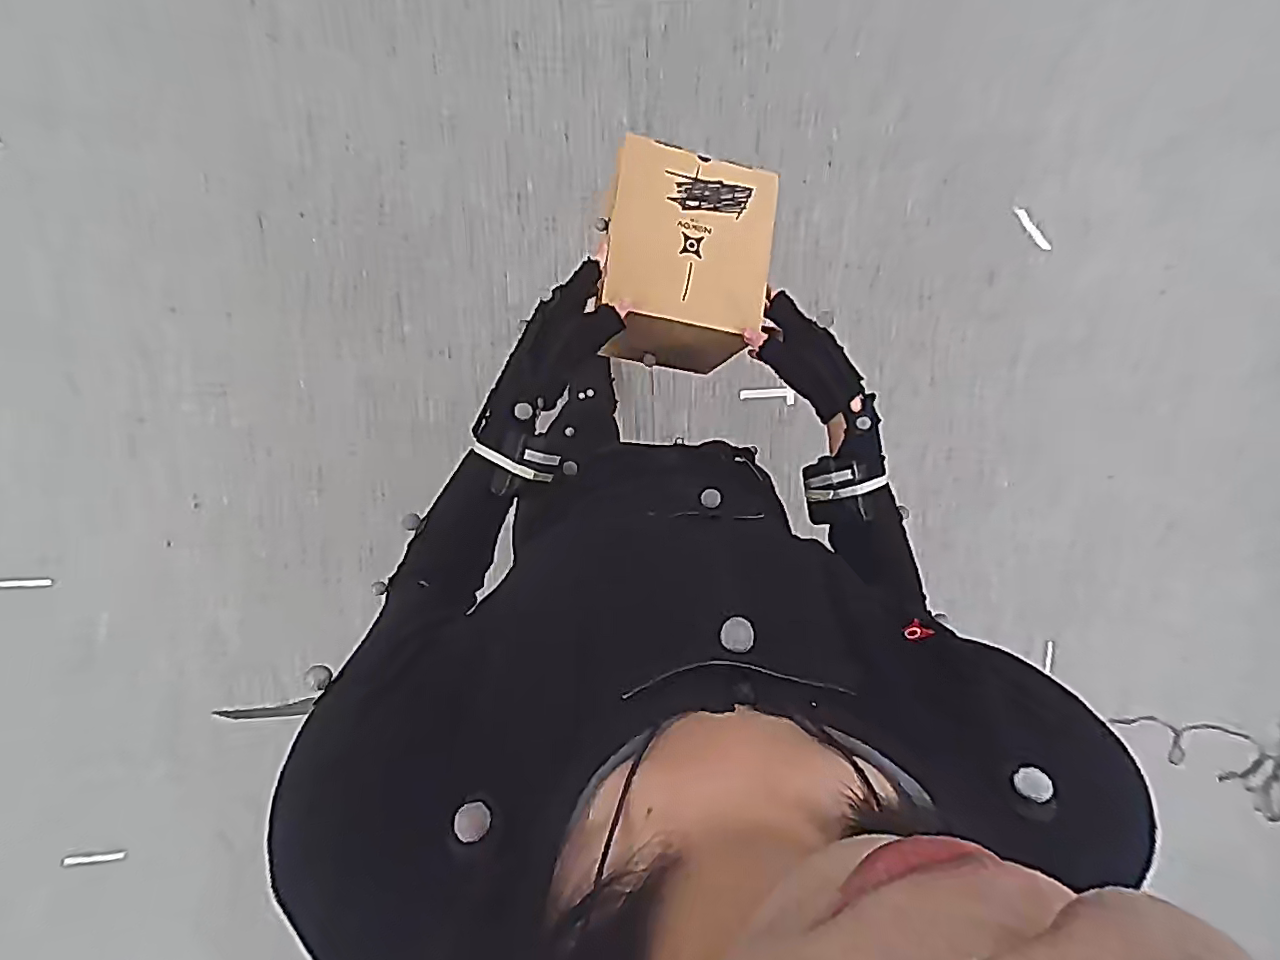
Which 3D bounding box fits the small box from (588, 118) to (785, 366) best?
[{"bbox_3d":[0.039,-0.243,0.599,0.168,0.176,0.179,8,87,-11],"label":"small box"}]
